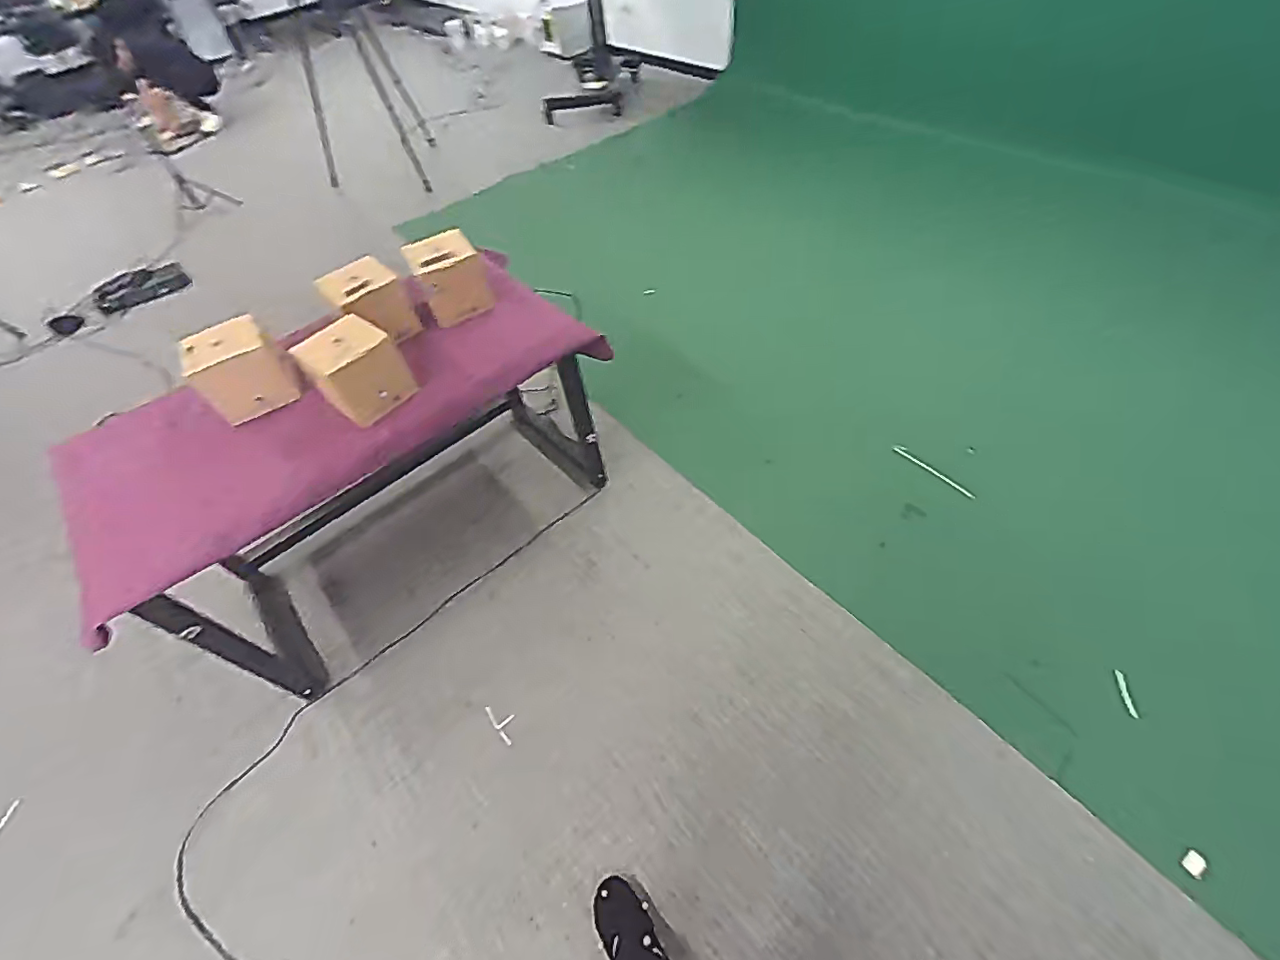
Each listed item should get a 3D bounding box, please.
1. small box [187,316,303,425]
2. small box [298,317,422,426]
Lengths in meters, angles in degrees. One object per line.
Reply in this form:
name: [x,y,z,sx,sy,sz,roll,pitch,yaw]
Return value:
small box: [-0.975,-0.271,1.350,0.179,0.176,0.168,-29,55,-16]
small box: [-0.667,-0.258,1.301,0.179,0.176,0.168,32,62,28]
